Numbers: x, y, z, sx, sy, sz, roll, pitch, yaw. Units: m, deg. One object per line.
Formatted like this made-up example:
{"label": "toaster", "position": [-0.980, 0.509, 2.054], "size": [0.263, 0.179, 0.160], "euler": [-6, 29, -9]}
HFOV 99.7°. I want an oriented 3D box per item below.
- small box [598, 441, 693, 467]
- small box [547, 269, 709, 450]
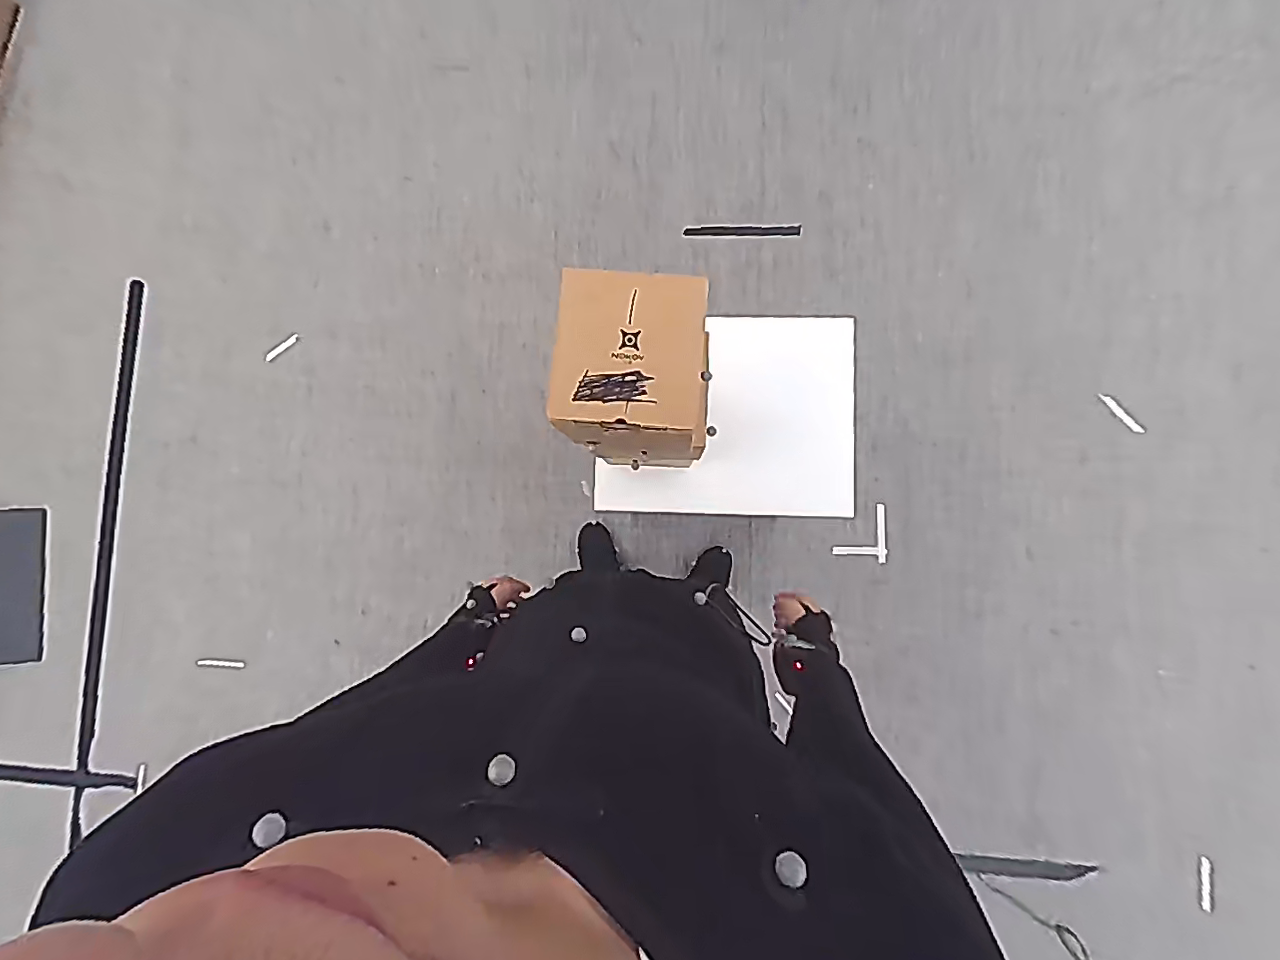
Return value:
{"label": "small box", "position": [0.018, -0.118, 0.997], "size": [0.168, 0.176, 0.179], "euler": [2, 86, 3]}
{"label": "small box", "position": [-0.007, -0.136, 0.669], "size": [0.168, 0.176, 0.179], "euler": [5, 85, 4]}
